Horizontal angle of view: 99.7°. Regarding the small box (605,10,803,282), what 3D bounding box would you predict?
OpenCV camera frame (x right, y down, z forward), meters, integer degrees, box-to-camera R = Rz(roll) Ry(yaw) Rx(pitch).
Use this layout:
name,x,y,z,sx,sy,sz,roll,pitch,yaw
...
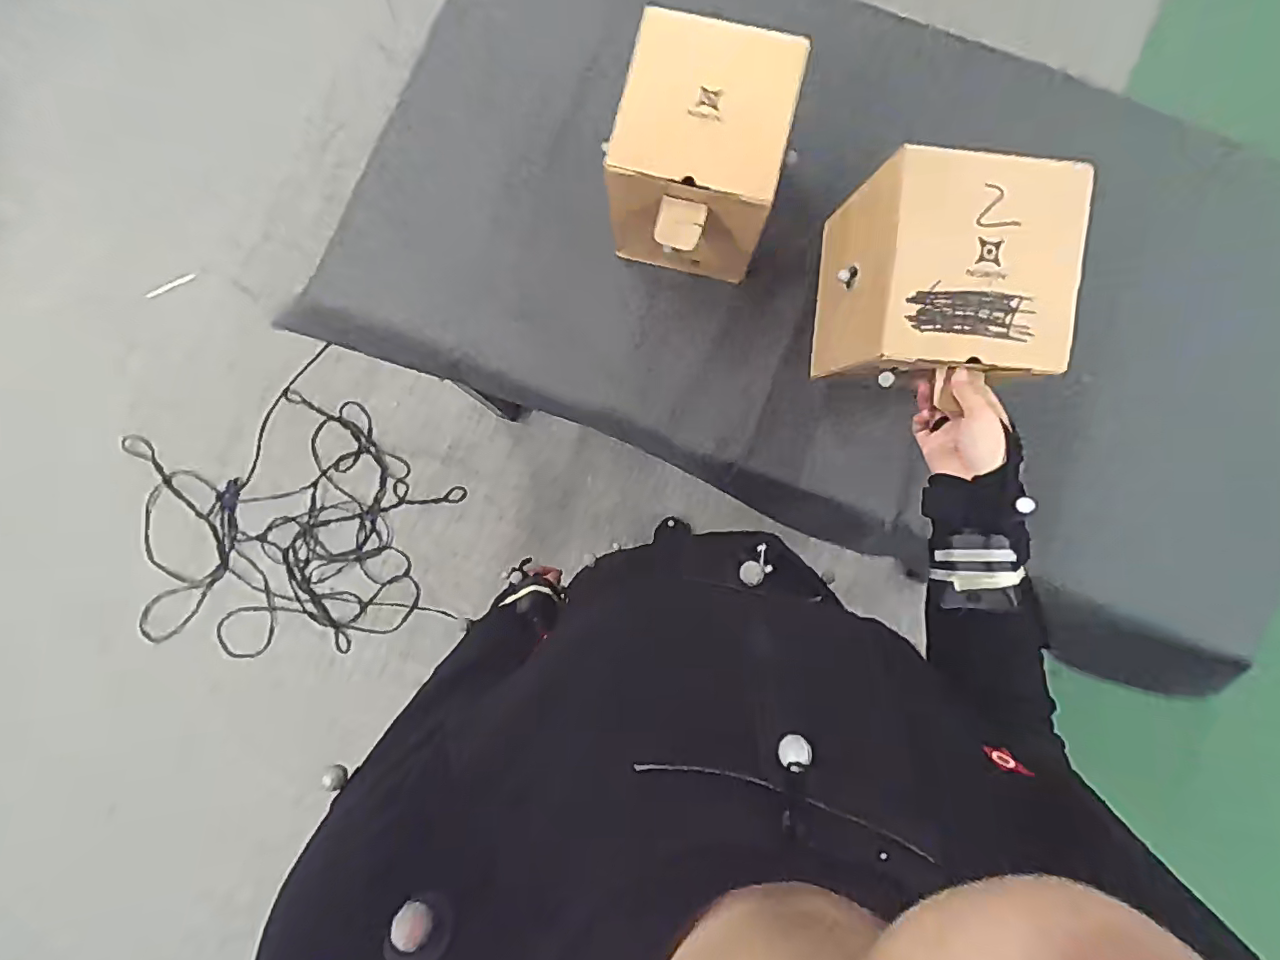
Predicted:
name,x,y,z,sx,sy,sz,roll,pitch,yaw
small box,0.063,-0.353,0.601,0.168,0.176,0.179,13,86,2
